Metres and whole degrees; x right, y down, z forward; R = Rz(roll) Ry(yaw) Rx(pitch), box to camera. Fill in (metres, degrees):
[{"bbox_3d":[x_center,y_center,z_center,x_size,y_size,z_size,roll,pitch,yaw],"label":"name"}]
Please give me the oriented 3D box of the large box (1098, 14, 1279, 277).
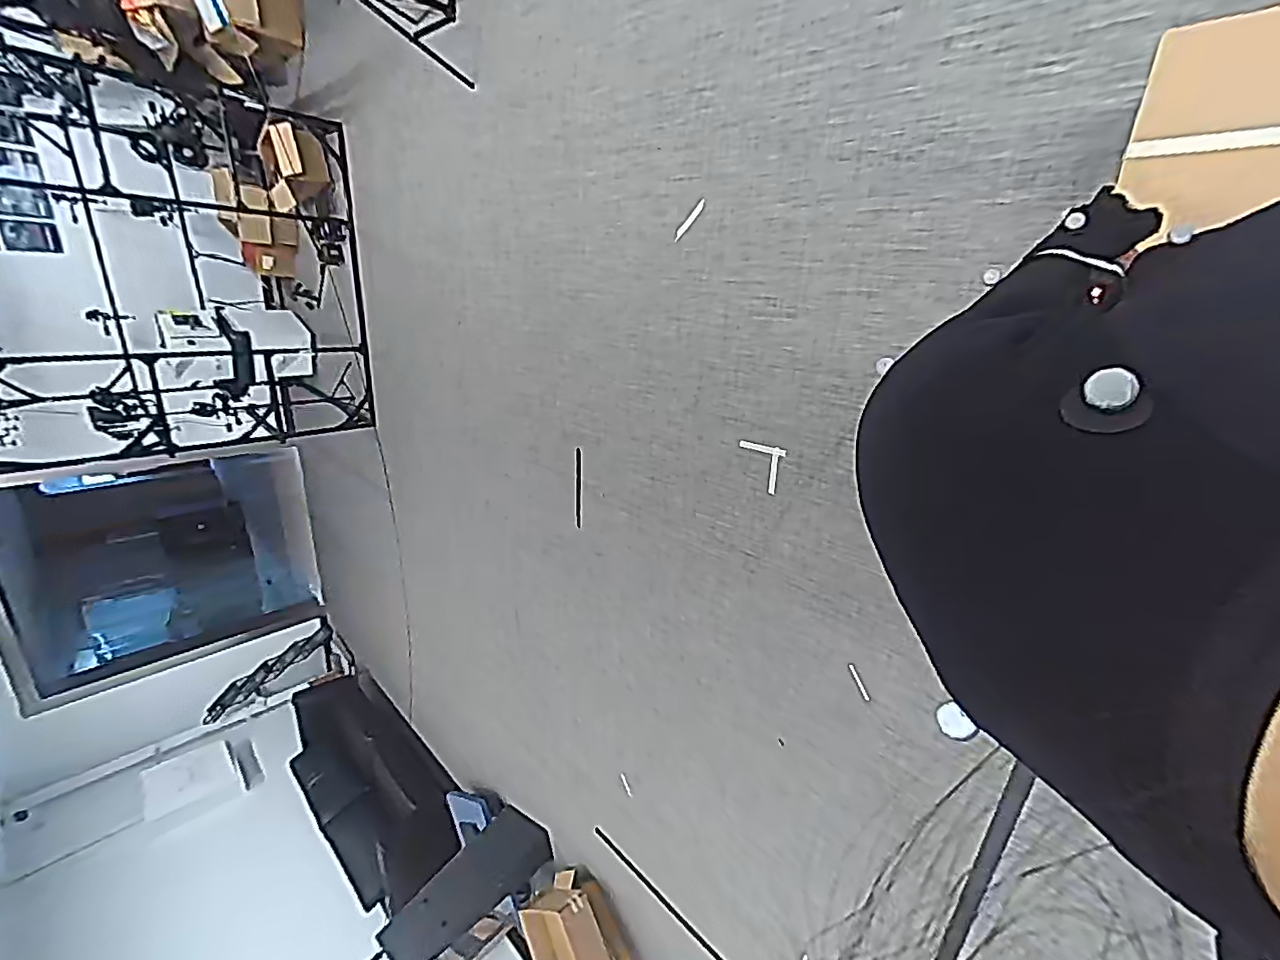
[{"bbox_3d":[1.010,-0.486,0.824,0.408,0.320,0.320,21,115,41],"label":"large box"}]
